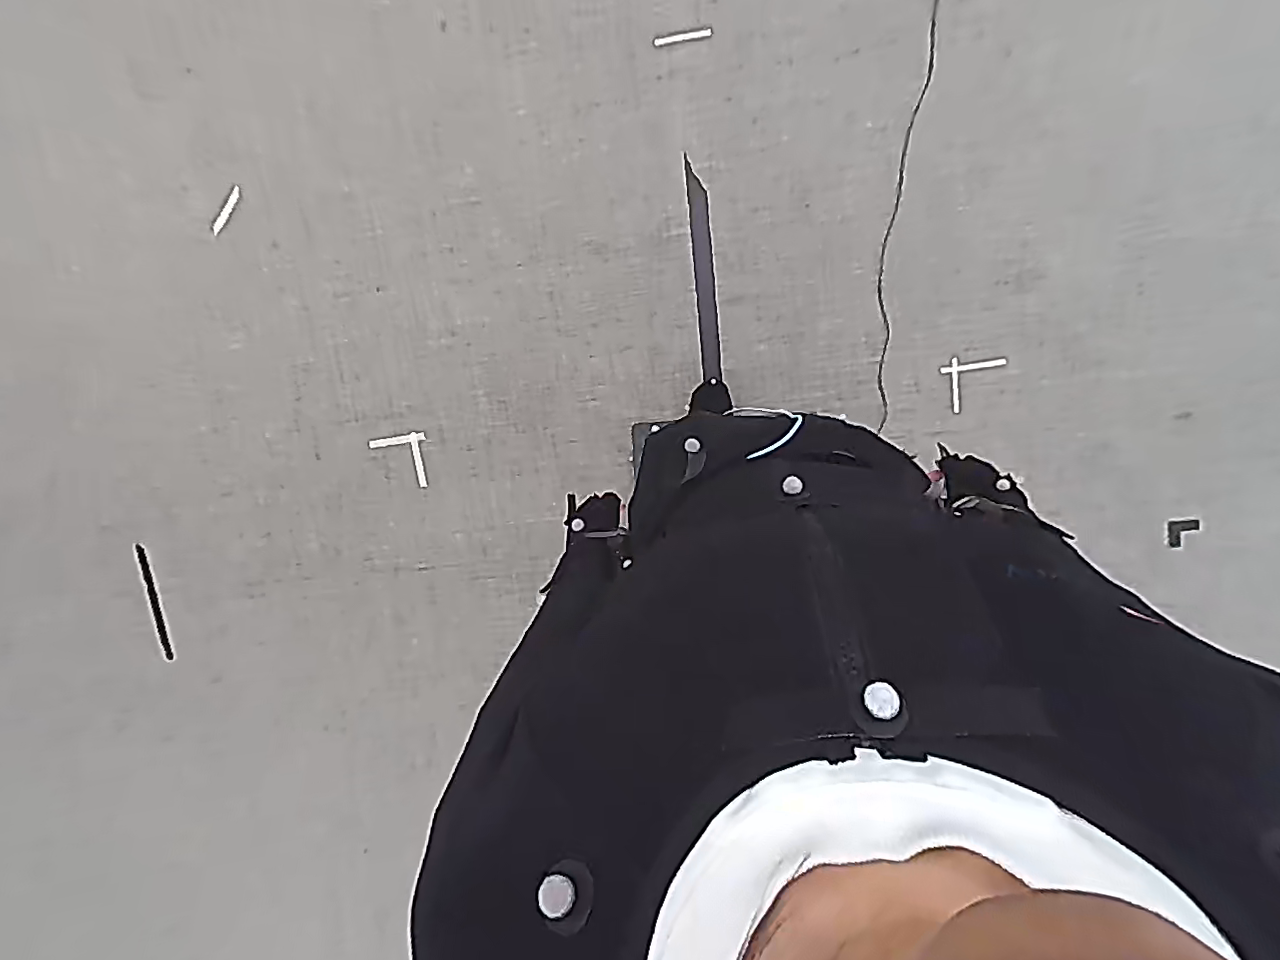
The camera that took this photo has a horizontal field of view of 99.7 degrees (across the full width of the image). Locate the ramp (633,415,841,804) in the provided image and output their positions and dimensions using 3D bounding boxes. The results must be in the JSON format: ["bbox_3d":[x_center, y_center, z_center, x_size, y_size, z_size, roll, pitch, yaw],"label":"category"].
[{"bbox_3d":[0.243,0.339,1.427,0.509,0.206,0.991,-5,97,8],"label":"ramp"}]
